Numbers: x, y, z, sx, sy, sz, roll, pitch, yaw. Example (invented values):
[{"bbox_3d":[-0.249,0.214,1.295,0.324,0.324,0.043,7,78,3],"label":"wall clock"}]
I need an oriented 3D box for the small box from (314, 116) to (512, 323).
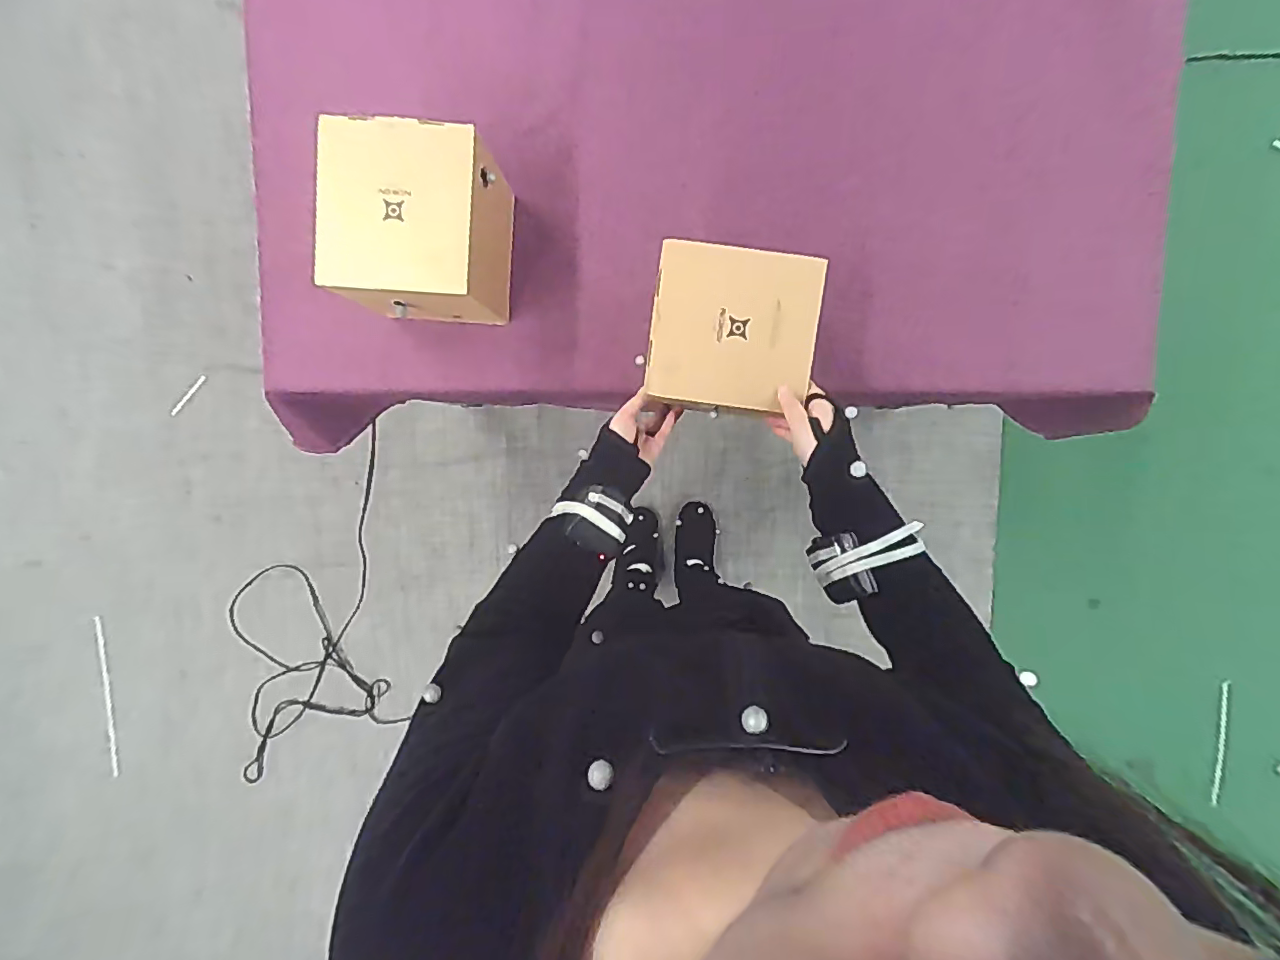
[{"bbox_3d":[-0.257,-0.294,0.648,0.168,0.176,0.179,4,94,1],"label":"small box"}]

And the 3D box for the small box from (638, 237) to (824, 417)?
[{"bbox_3d":[0.097,-0.168,0.647,0.179,0.176,0.168,8,95,1],"label":"small box"}]
